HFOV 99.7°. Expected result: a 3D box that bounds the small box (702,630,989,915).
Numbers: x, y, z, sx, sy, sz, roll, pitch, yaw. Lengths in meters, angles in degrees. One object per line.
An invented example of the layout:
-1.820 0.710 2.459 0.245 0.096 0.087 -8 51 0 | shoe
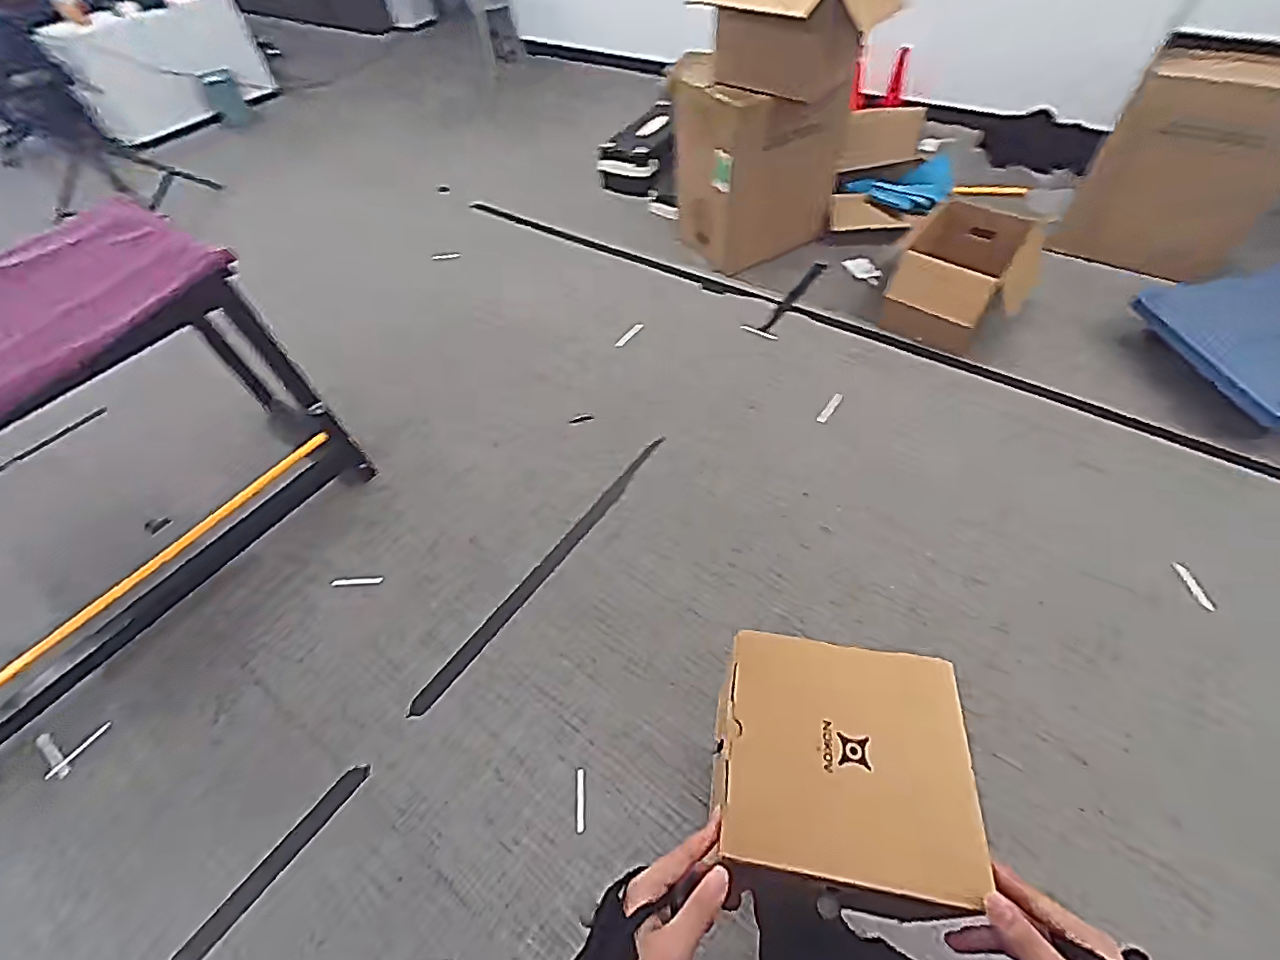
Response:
0.149 0.248 0.458 0.179 0.176 0.168 5 50 8 | small box
